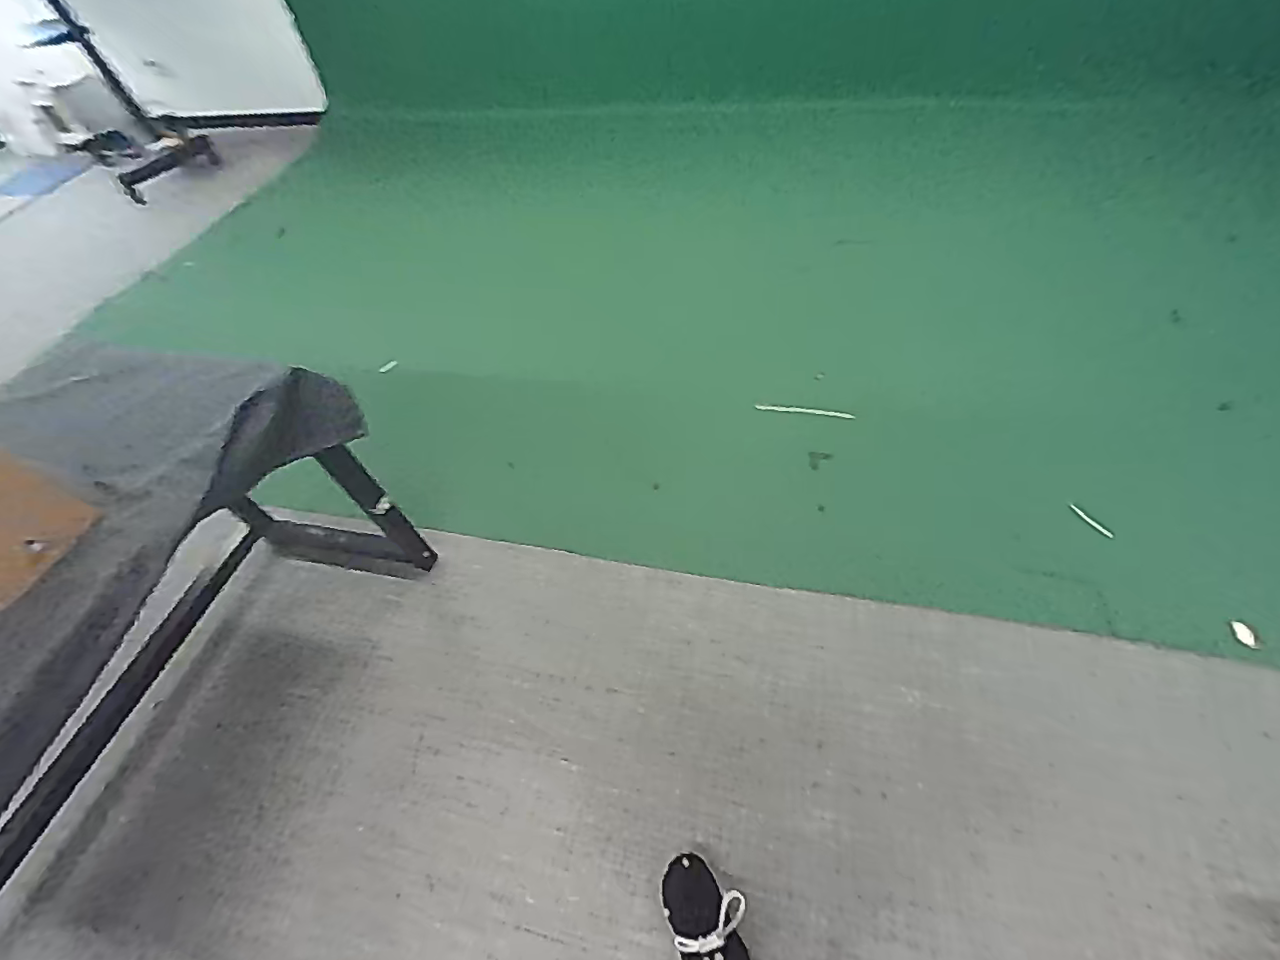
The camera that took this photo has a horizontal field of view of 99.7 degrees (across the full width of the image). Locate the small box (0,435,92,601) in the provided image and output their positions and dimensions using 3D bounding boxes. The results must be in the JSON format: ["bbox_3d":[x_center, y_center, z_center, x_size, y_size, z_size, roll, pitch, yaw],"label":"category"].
[{"bbox_3d":[-0.949,0.045,0.762,0.168,0.176,0.179,8,54,13],"label":"small box"}]
